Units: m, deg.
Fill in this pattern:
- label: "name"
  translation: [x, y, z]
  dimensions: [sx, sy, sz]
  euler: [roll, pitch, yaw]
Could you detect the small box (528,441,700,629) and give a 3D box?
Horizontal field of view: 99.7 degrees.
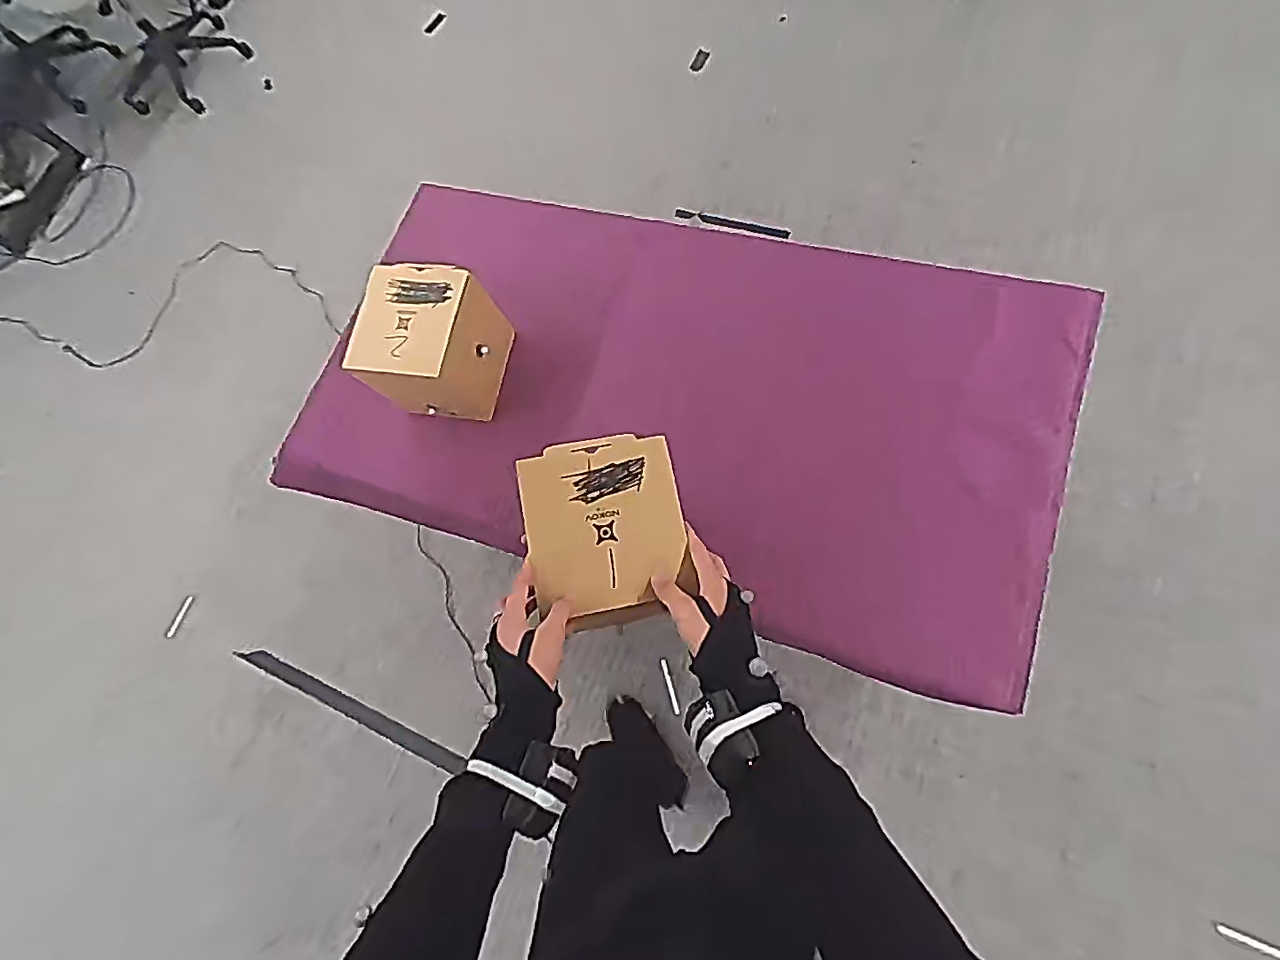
- label: "small box"
  translation: [-0.034, 0.074, 0.652]
  dimensions: [0.168, 0.176, 0.179]
  euler: [-9, 71, -5]
